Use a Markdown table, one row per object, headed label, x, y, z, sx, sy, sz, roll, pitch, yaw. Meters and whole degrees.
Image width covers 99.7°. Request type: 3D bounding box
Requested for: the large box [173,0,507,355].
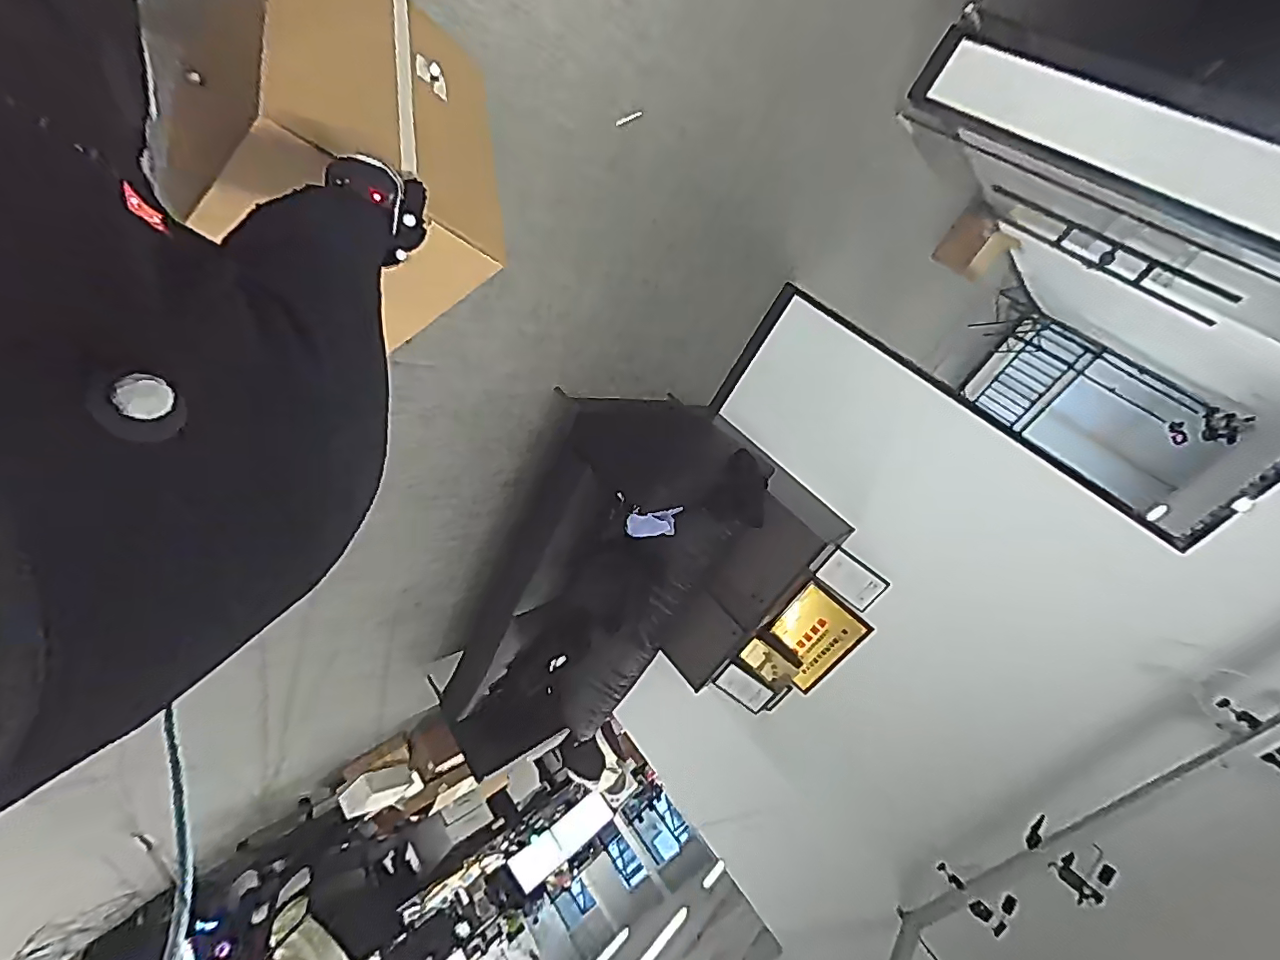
| label | x | y | z | sx | sy | sz | roll | pitch | yaw |
| --- | --- | --- | --- | --- | --- | --- | --- | --- | --- |
| large box | -0.434 | -0.462 | 0.794 | 0.320 | 0.408 | 0.320 | -22 | 158 | 30 |
